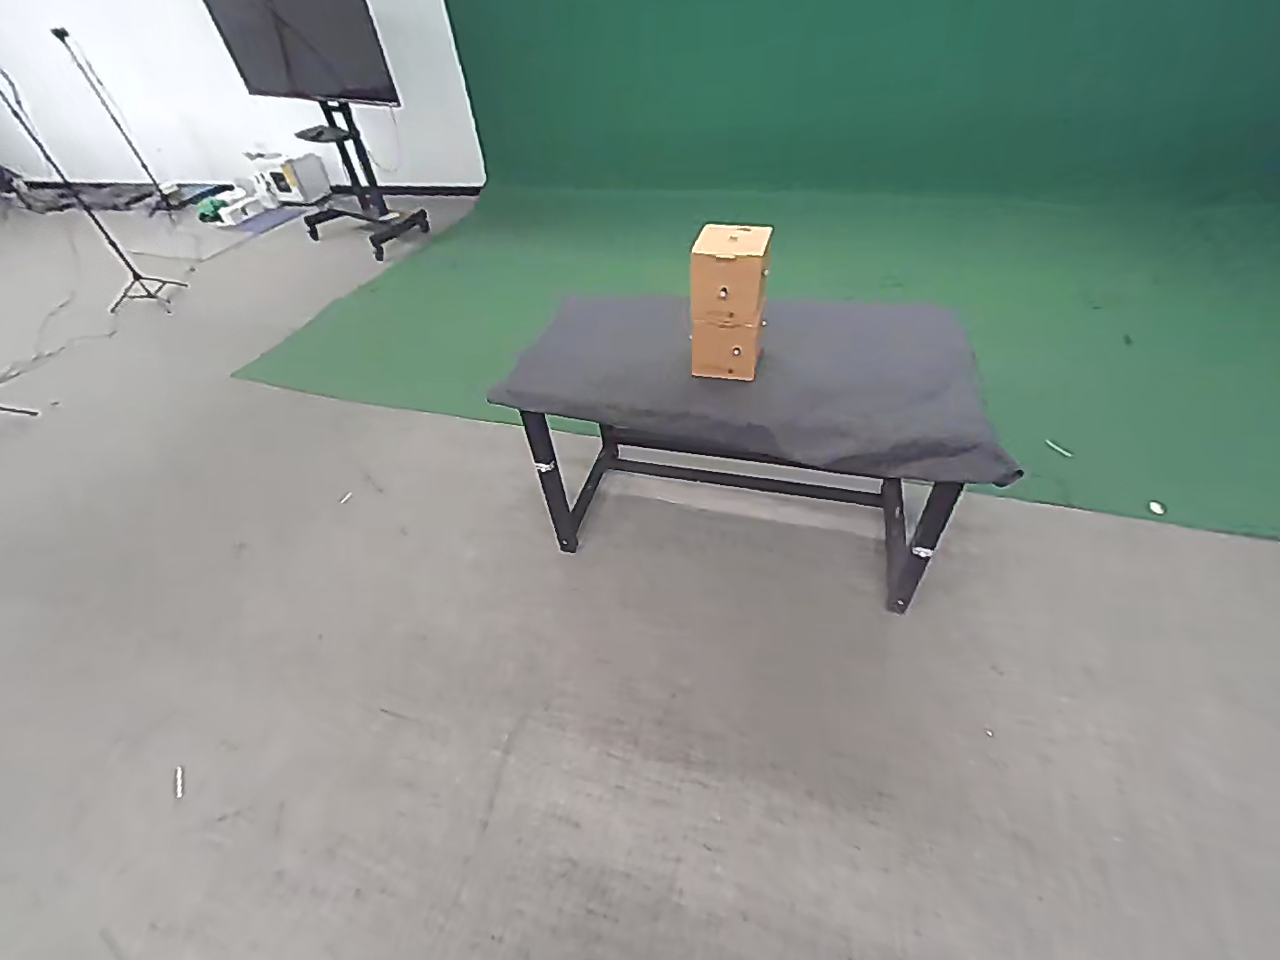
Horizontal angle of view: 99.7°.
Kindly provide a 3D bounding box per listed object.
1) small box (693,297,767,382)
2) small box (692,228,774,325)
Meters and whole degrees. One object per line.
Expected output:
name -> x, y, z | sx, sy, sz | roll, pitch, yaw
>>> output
small box -> 0.241, -0.382, 1.449 | 0.168, 0.176, 0.179 | 9, 45, 13
small box -> 0.229, -0.502, 1.338 | 0.168, 0.176, 0.179 | 11, 48, 14
